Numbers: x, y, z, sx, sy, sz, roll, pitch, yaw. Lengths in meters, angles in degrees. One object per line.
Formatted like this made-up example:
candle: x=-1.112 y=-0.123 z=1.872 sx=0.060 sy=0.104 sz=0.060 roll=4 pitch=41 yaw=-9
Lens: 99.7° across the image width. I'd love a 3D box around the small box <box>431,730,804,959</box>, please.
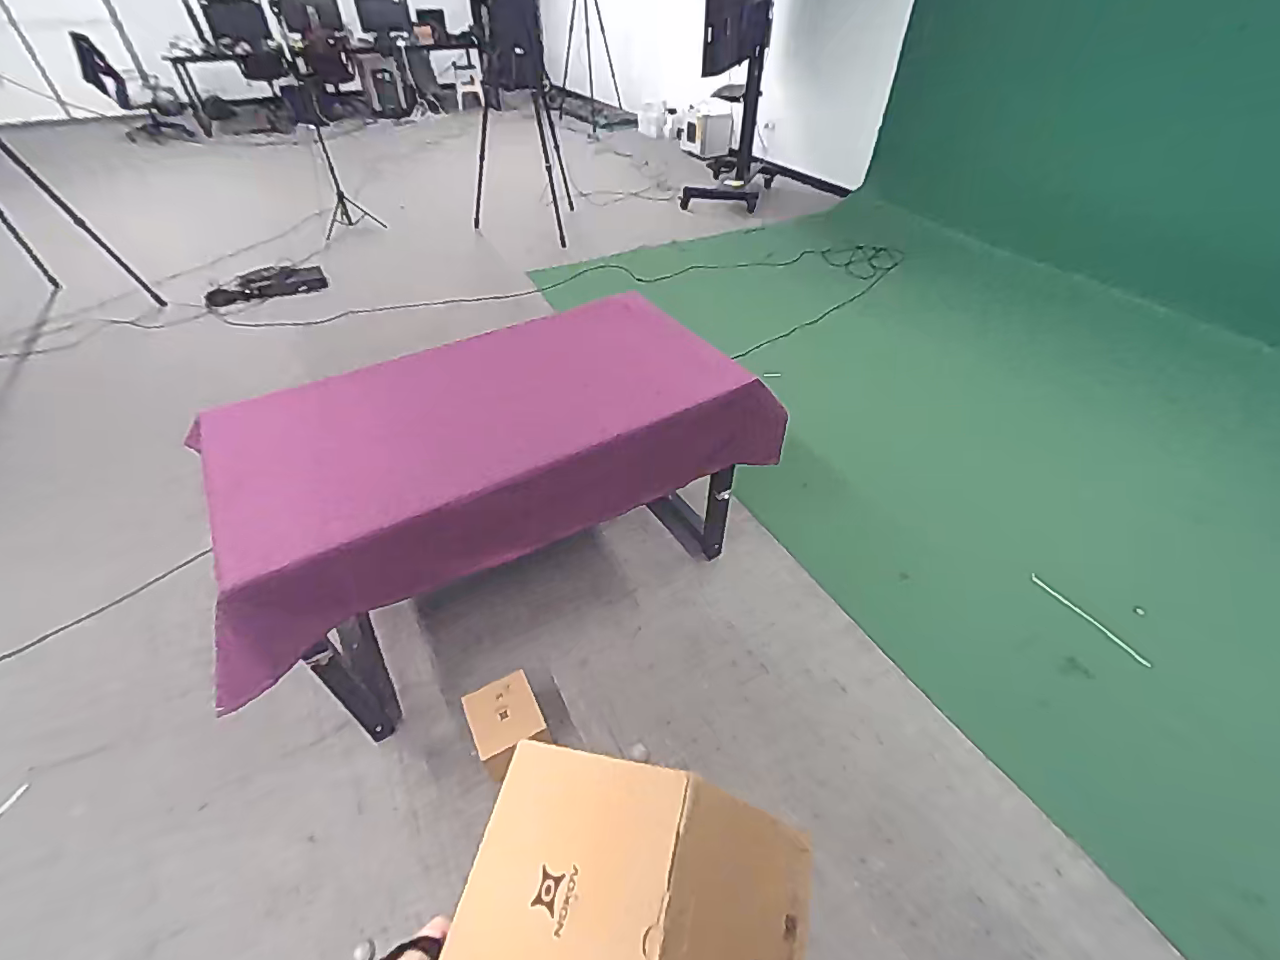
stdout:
small box: x=-0.008 y=0.300 z=0.389 sx=0.179 sy=0.176 sz=0.168 roll=-14 pitch=45 yaw=40
